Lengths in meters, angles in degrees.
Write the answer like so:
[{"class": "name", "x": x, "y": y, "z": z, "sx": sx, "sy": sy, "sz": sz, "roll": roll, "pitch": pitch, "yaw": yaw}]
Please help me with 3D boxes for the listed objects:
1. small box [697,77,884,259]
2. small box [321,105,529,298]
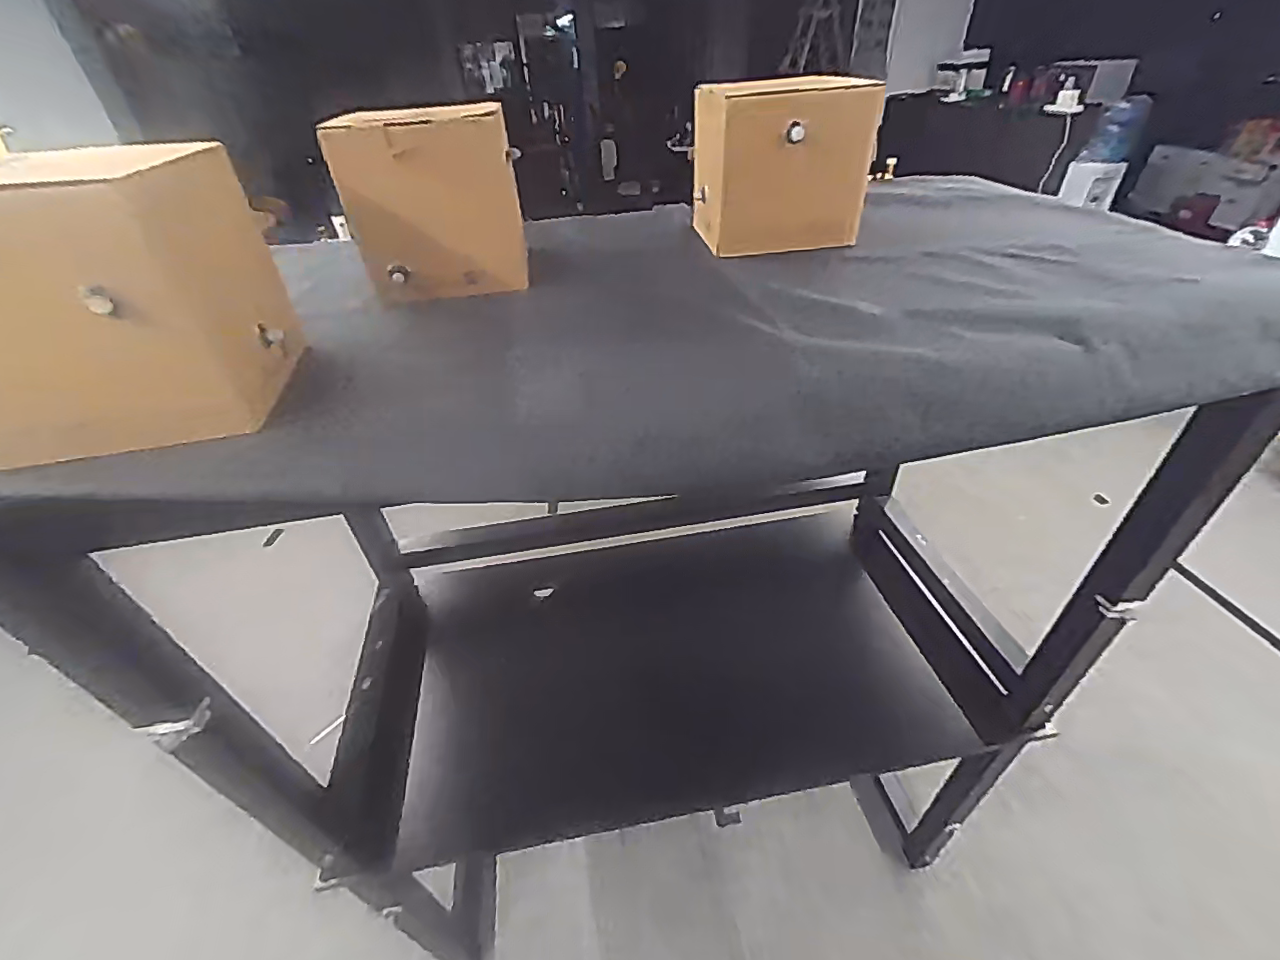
[{"class": "small box", "x": 0.170, "y": -0.391, "z": 0.677, "sx": 0.179, "sy": 0.176, "sz": 0.168, "roll": -7, "pitch": 38, "yaw": -2}, {"class": "small box", "x": -0.223, "y": -0.316, "z": 0.619, "sx": 0.168, "sy": 0.176, "sz": 0.179, "roll": -8, "pitch": 38, "yaw": -5}]
